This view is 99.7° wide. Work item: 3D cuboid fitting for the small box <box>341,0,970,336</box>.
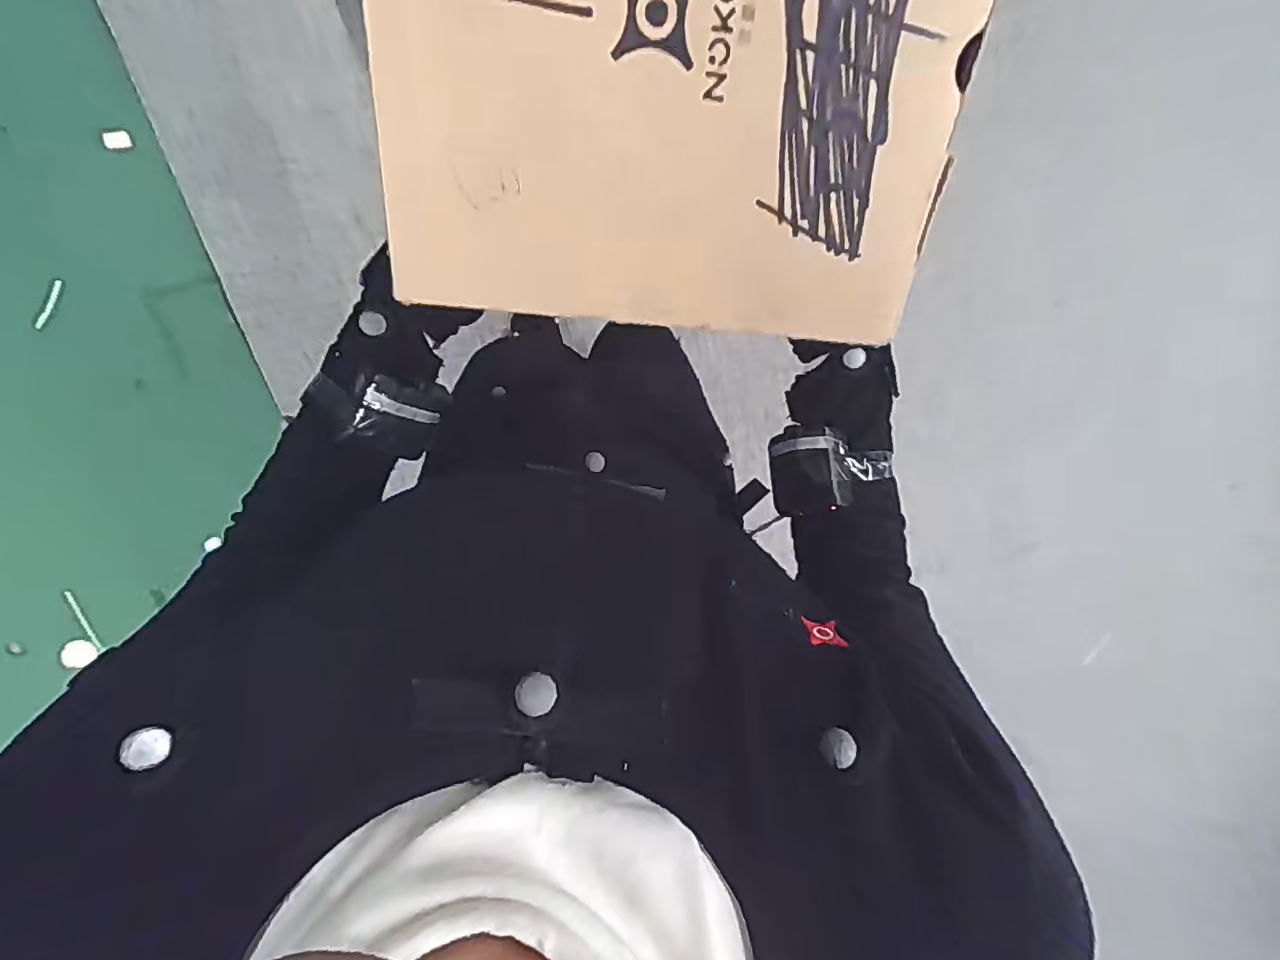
[{"bbox_3d":[0.003,-0.169,0.220,0.179,0.176,0.168,5,118,-4],"label":"small box"}]
